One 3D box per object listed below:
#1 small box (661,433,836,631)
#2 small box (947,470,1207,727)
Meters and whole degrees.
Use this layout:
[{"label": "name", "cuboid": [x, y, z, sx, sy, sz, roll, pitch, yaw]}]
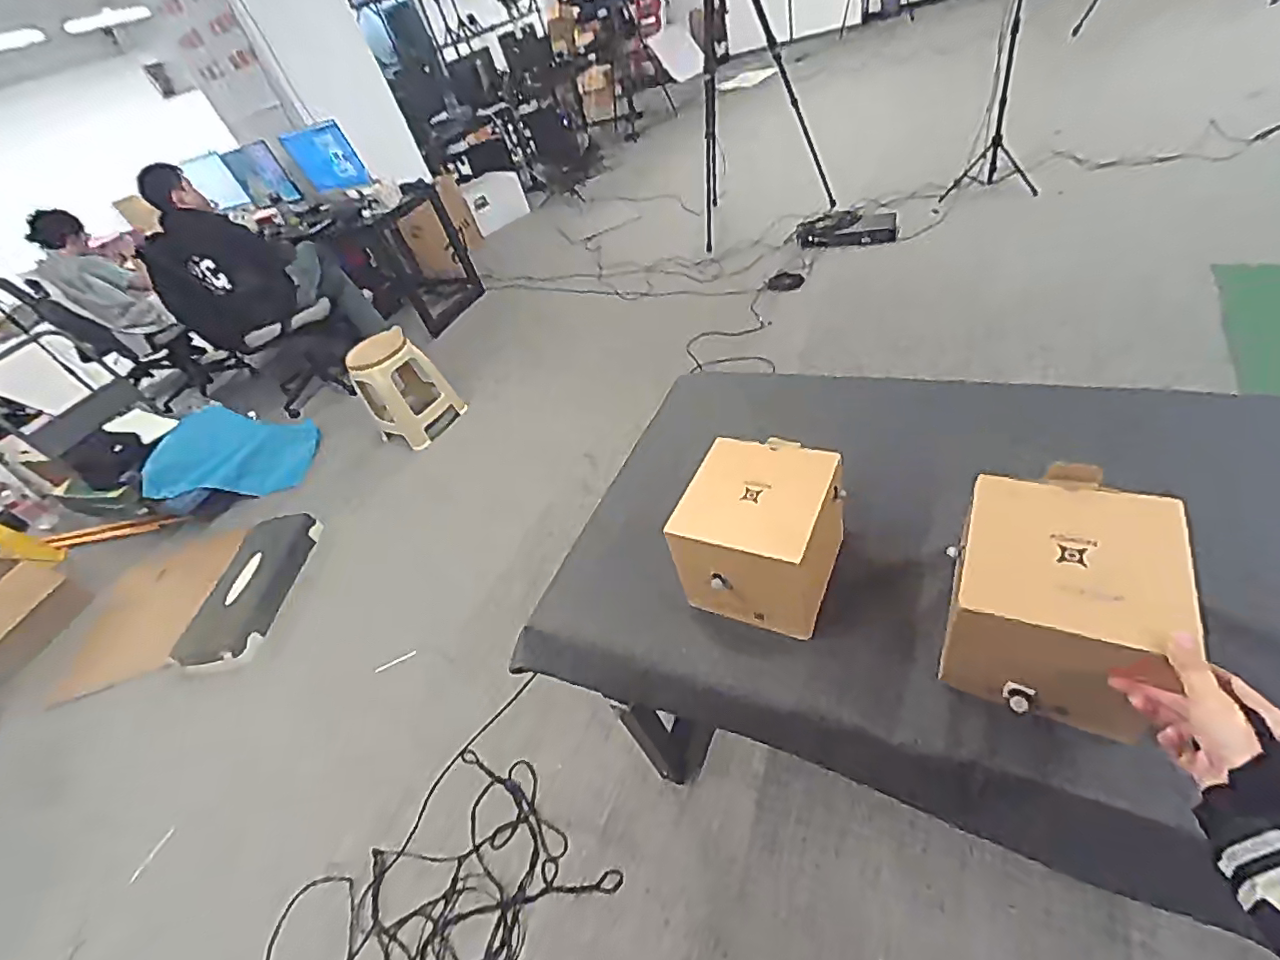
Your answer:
[{"label": "small box", "cuboid": [0.152, 0.065, 0.698, 0.168, 0.176, 0.179, 10, 49, 29]}, {"label": "small box", "cuboid": [0.417, 0.116, 0.547, 0.168, 0.176, 0.179, 7, 53, 30]}]
